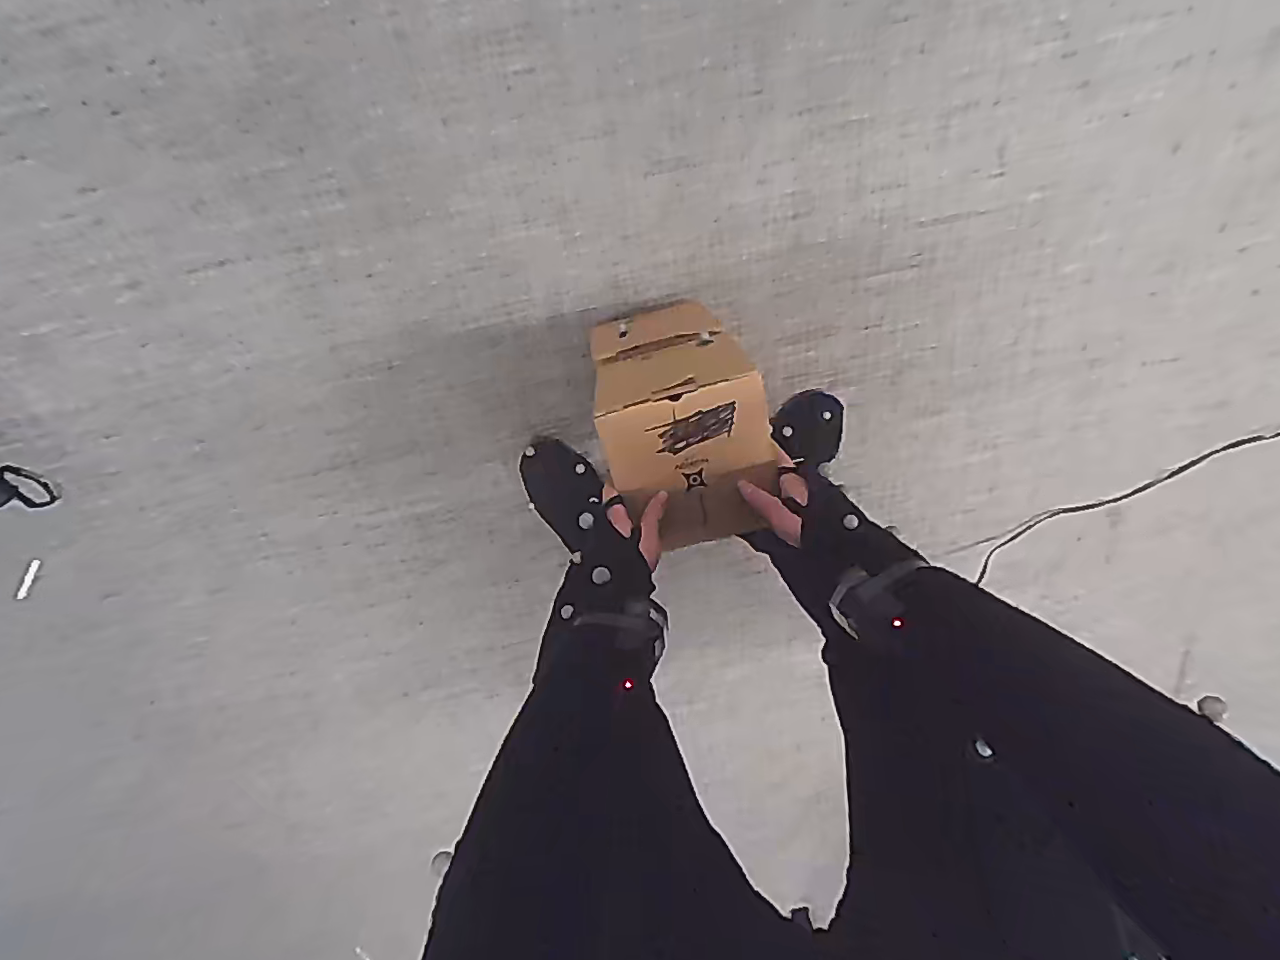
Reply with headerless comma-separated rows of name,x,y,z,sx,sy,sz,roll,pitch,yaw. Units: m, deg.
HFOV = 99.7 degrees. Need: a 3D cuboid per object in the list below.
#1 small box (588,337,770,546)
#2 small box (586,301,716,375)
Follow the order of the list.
small box,0.040,-0.056,0.629,0.168,0.176,0.179,-14,119,4
small box,0.022,-0.143,0.771,0.168,0.176,0.179,-14,121,3
